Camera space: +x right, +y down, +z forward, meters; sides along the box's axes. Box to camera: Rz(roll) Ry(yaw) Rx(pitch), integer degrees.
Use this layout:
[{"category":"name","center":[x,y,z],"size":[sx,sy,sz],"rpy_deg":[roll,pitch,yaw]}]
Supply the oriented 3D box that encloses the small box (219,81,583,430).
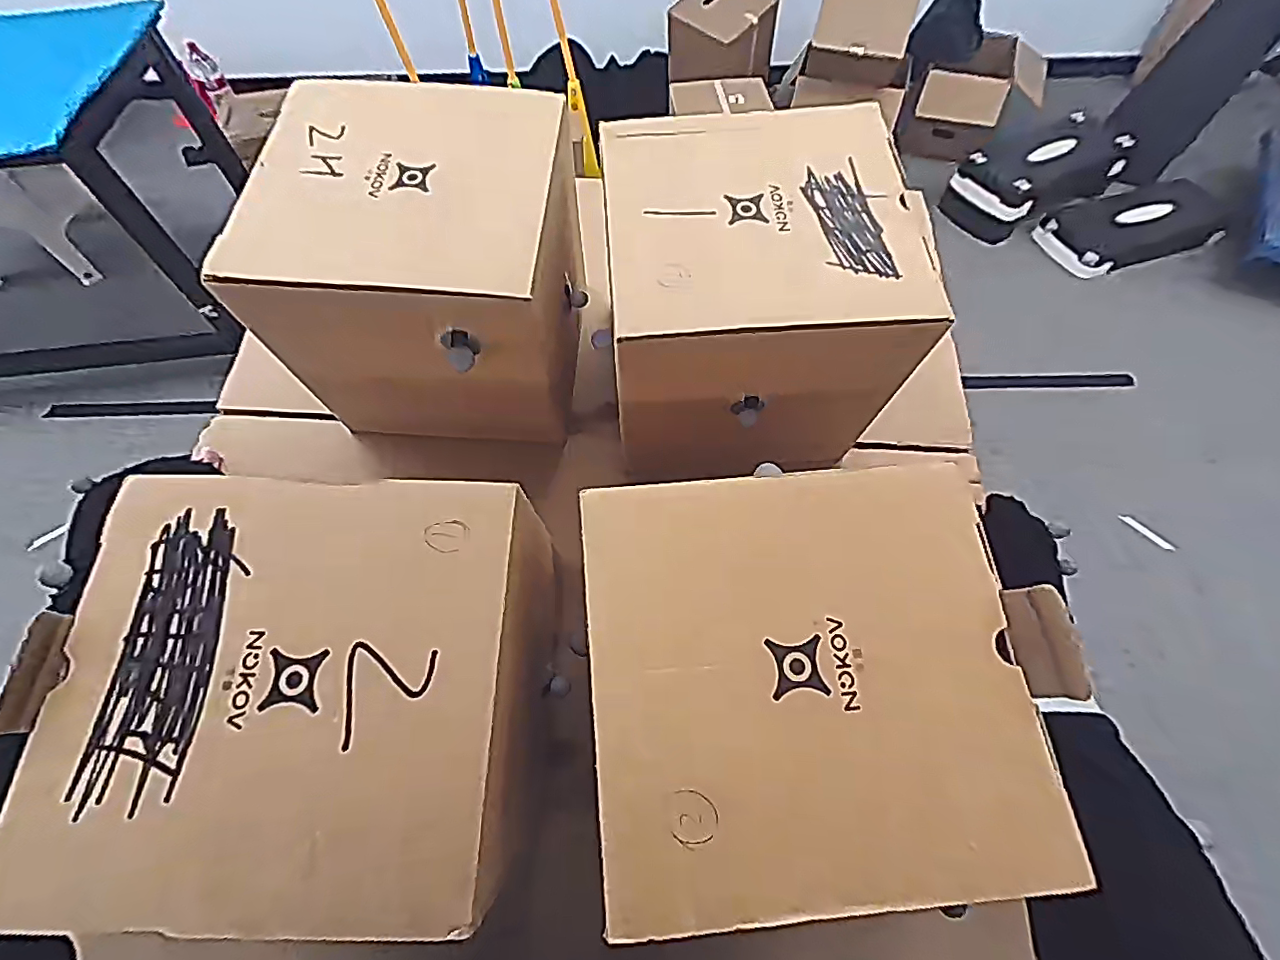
[{"category":"small box","center":[-0.140,-0.149,0.399],"size":[0.179,0.176,0.168],"rpy_deg":[4,66,1]}]
